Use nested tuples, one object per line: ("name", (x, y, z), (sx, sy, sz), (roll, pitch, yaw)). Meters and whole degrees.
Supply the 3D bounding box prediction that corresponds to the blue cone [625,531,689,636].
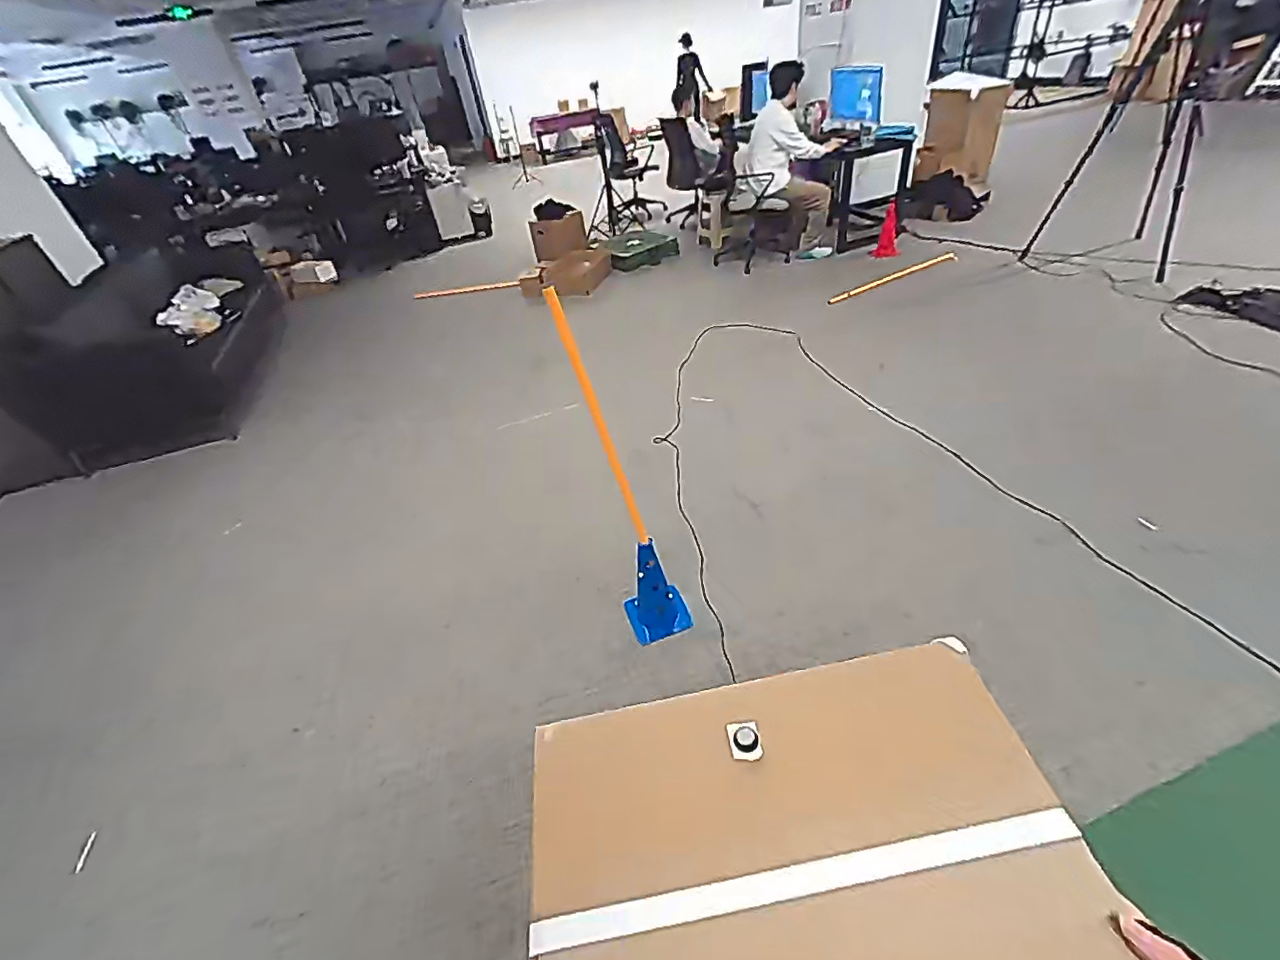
("blue cone", (0.034, 0.317, 1.759), (0.193, 0.380, 0.192), (-21, 39, -11))
